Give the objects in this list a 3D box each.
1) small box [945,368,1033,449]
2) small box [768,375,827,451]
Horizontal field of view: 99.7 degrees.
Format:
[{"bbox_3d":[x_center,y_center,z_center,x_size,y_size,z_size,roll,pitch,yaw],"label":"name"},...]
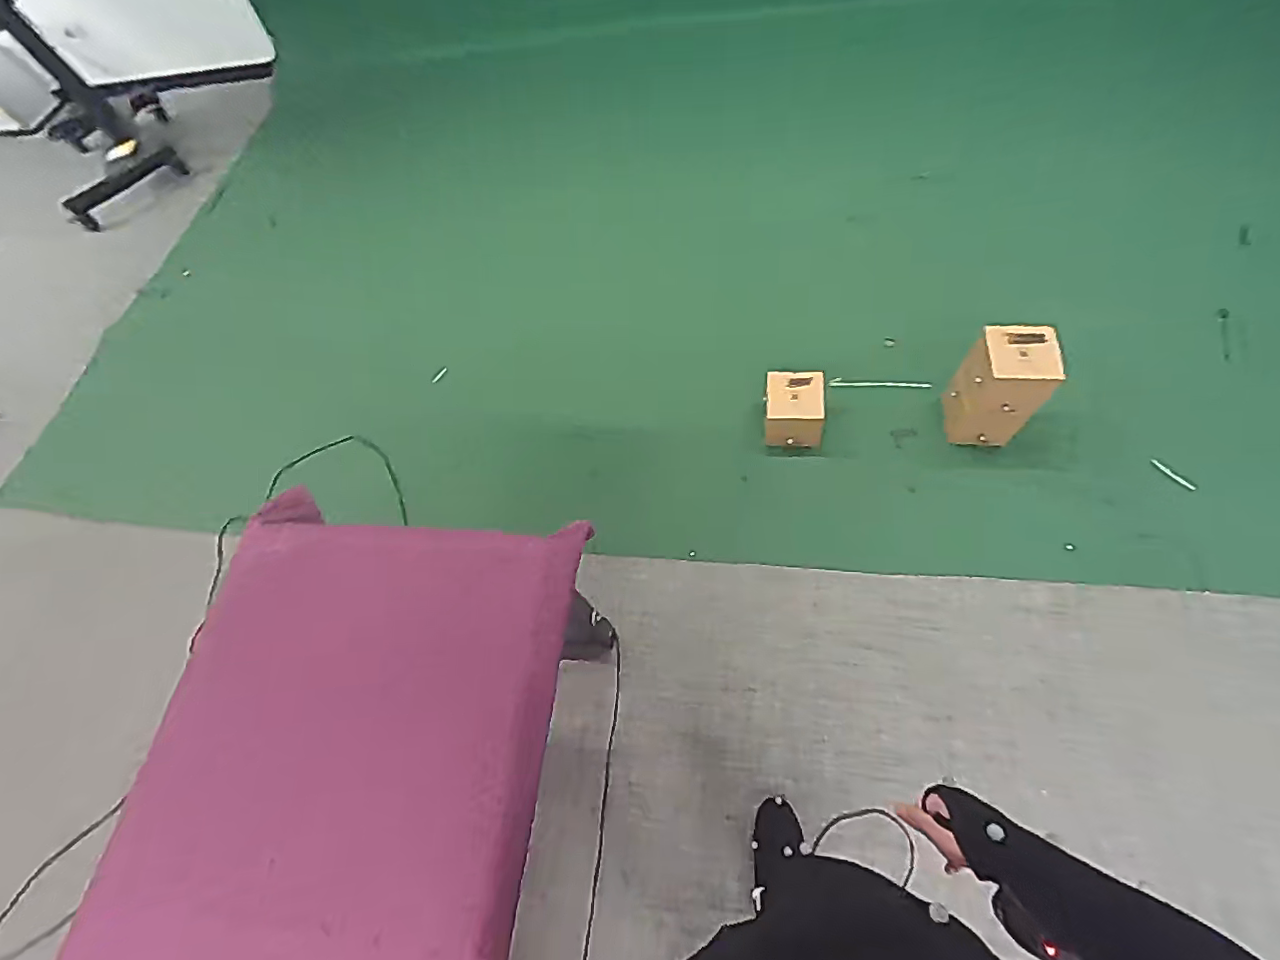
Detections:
[{"bbox_3d":[1.033,-0.213,1.617,0.168,0.176,0.179,4,64,12],"label":"small box"},{"bbox_3d":[0.493,-0.211,1.711,0.168,0.176,0.179,2,64,12],"label":"small box"}]
